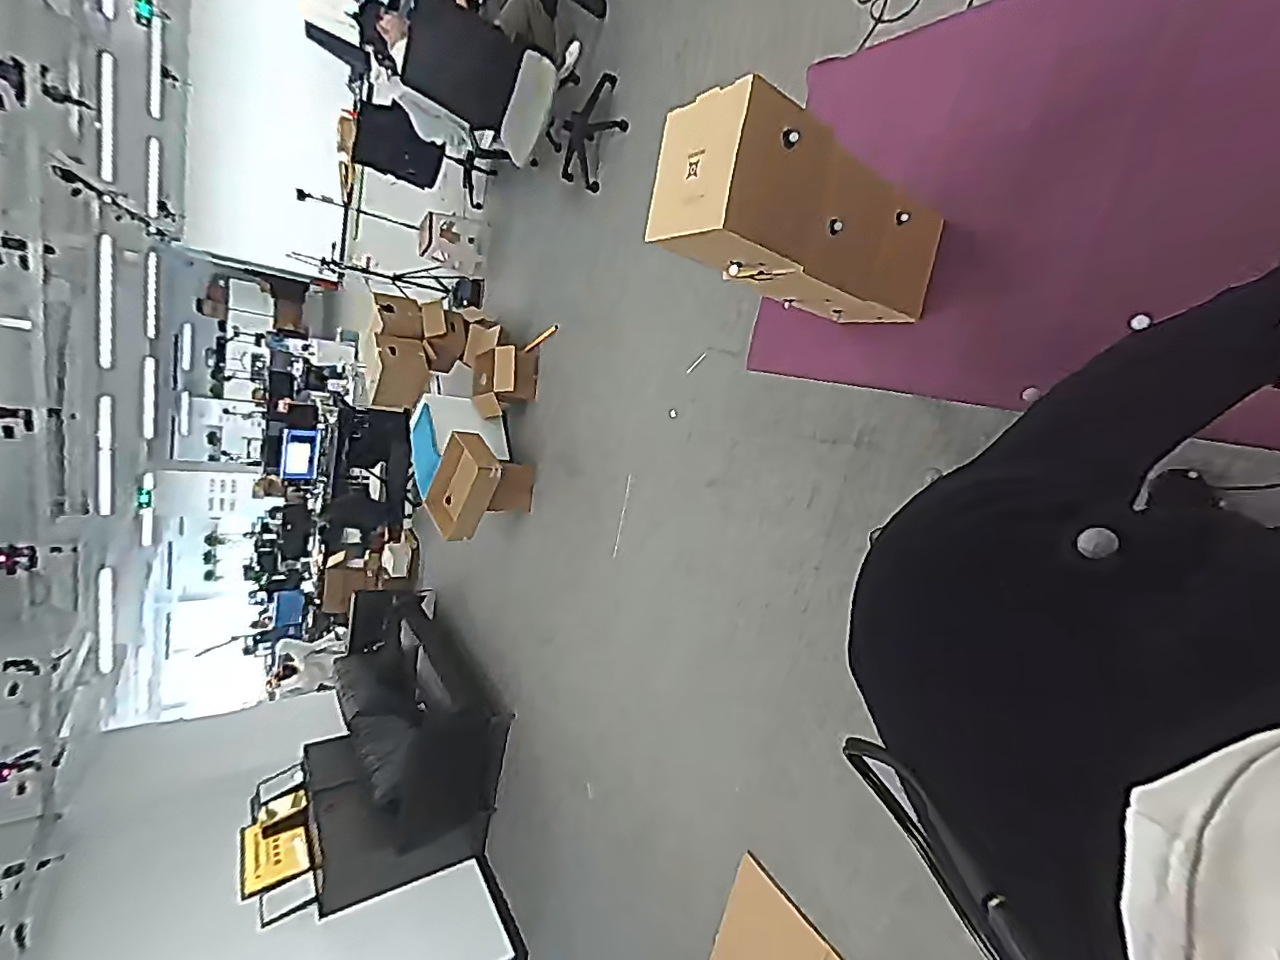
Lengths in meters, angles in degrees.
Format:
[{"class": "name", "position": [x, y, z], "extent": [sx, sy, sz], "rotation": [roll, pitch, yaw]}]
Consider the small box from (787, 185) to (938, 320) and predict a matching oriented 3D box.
[{"class": "small box", "position": [0.391, -0.384, 0.949], "extent": [0.168, 0.176, 0.179], "rotation": [22, 104, 52]}]

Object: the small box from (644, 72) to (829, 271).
[{"class": "small box", "position": [0.134, -0.405, 0.748], "extent": [0.168, 0.176, 0.179], "rotation": [24, 106, 51]}]

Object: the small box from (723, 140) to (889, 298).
[{"class": "small box", "position": [0.260, -0.390, 0.850], "extent": [0.168, 0.176, 0.179], "rotation": [23, 104, 51]}]
